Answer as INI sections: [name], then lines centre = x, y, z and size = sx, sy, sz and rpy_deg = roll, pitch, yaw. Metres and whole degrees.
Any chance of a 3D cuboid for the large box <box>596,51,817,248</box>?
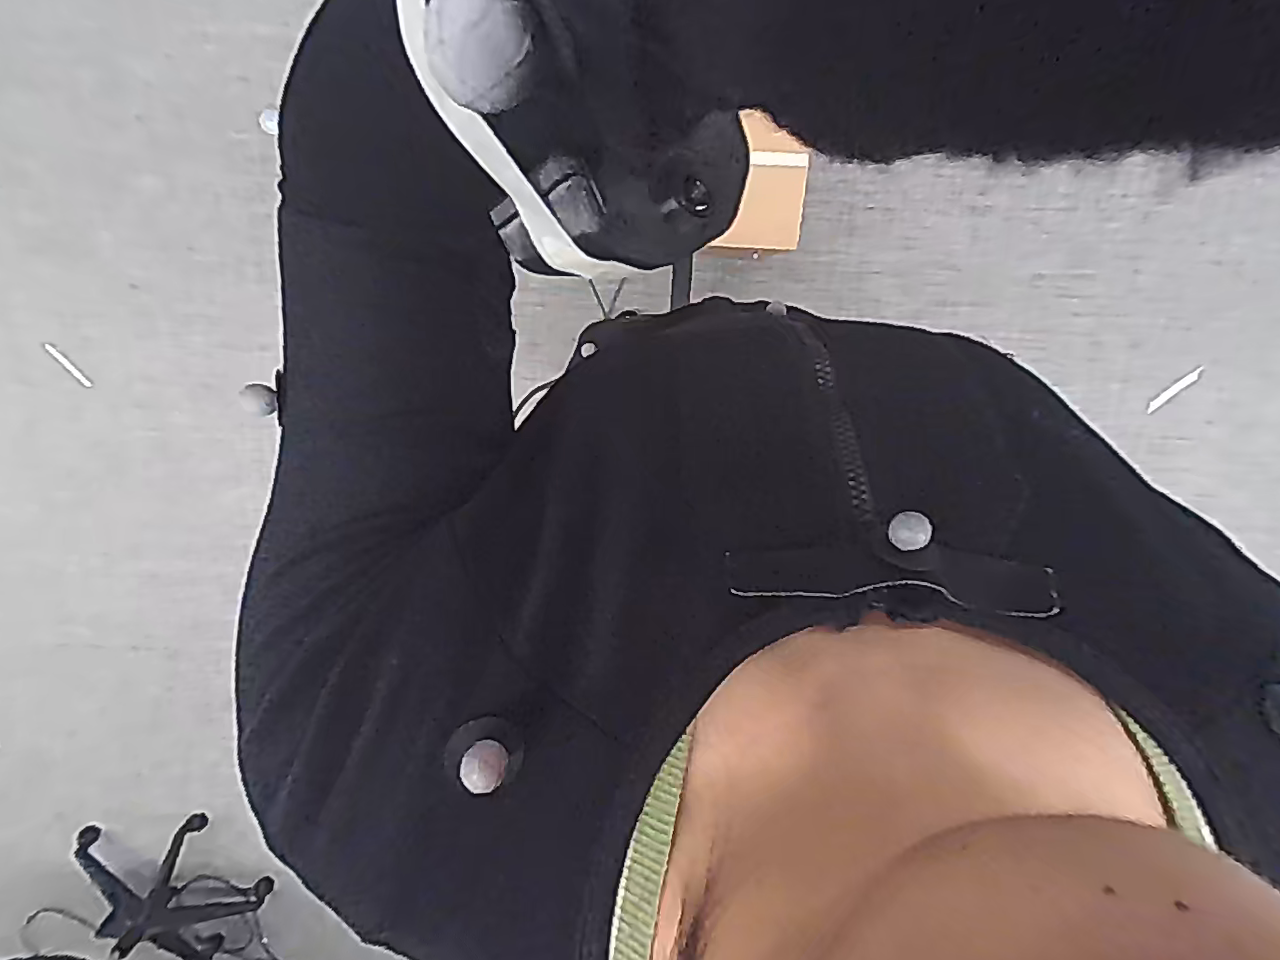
[large box]
centre = 0.121, -0.673, 1.159
size = 0.408, 0.320, 0.320
rpy_deg = 3, 110, 0
